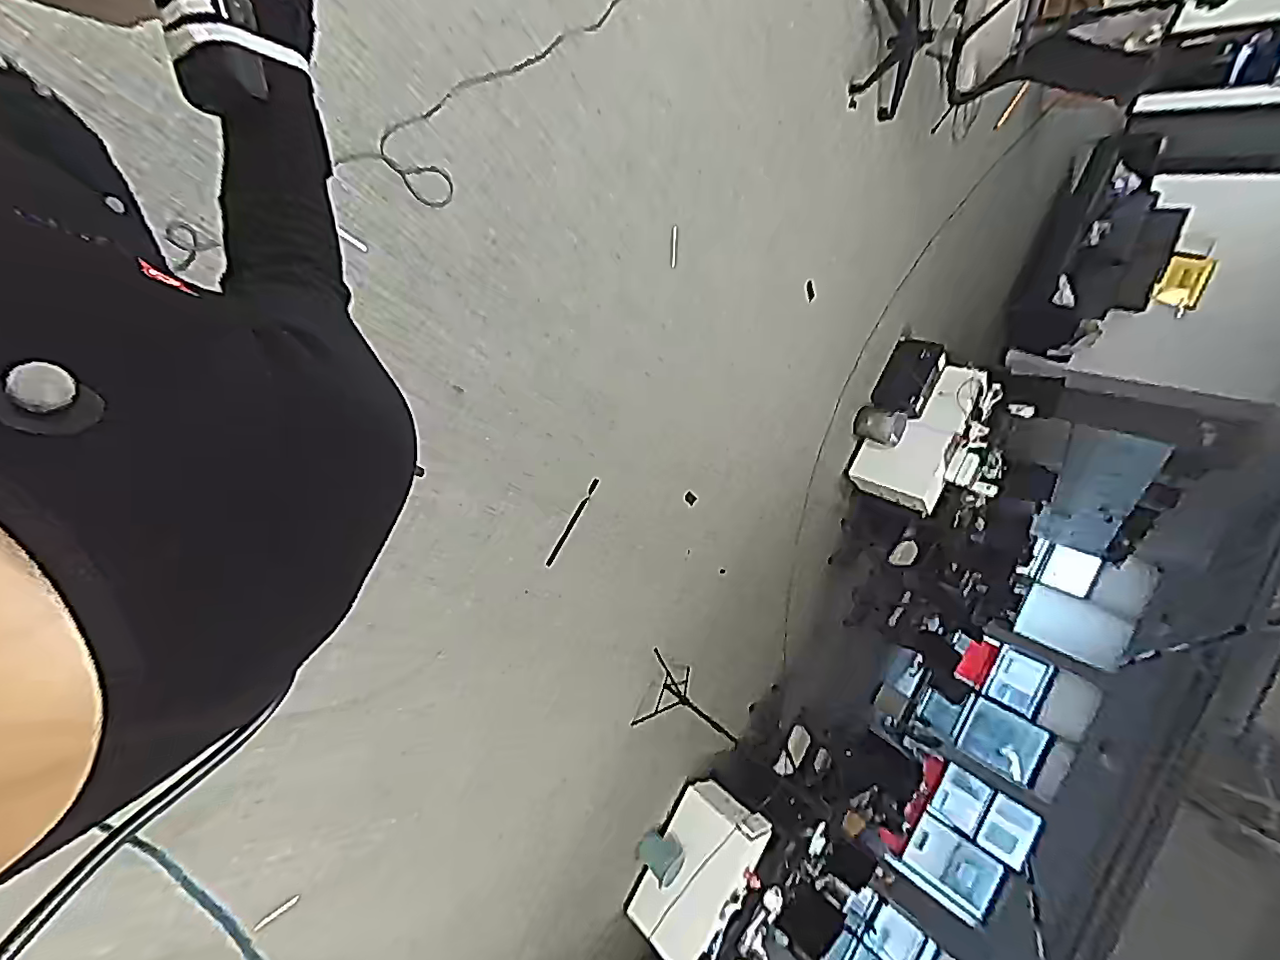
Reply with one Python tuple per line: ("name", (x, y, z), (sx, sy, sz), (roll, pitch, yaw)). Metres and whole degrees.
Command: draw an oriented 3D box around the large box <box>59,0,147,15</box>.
("large box", (-0.518, -0.503, 0.258), (0.408, 0.320, 0.320), (-18, 127, -47))
